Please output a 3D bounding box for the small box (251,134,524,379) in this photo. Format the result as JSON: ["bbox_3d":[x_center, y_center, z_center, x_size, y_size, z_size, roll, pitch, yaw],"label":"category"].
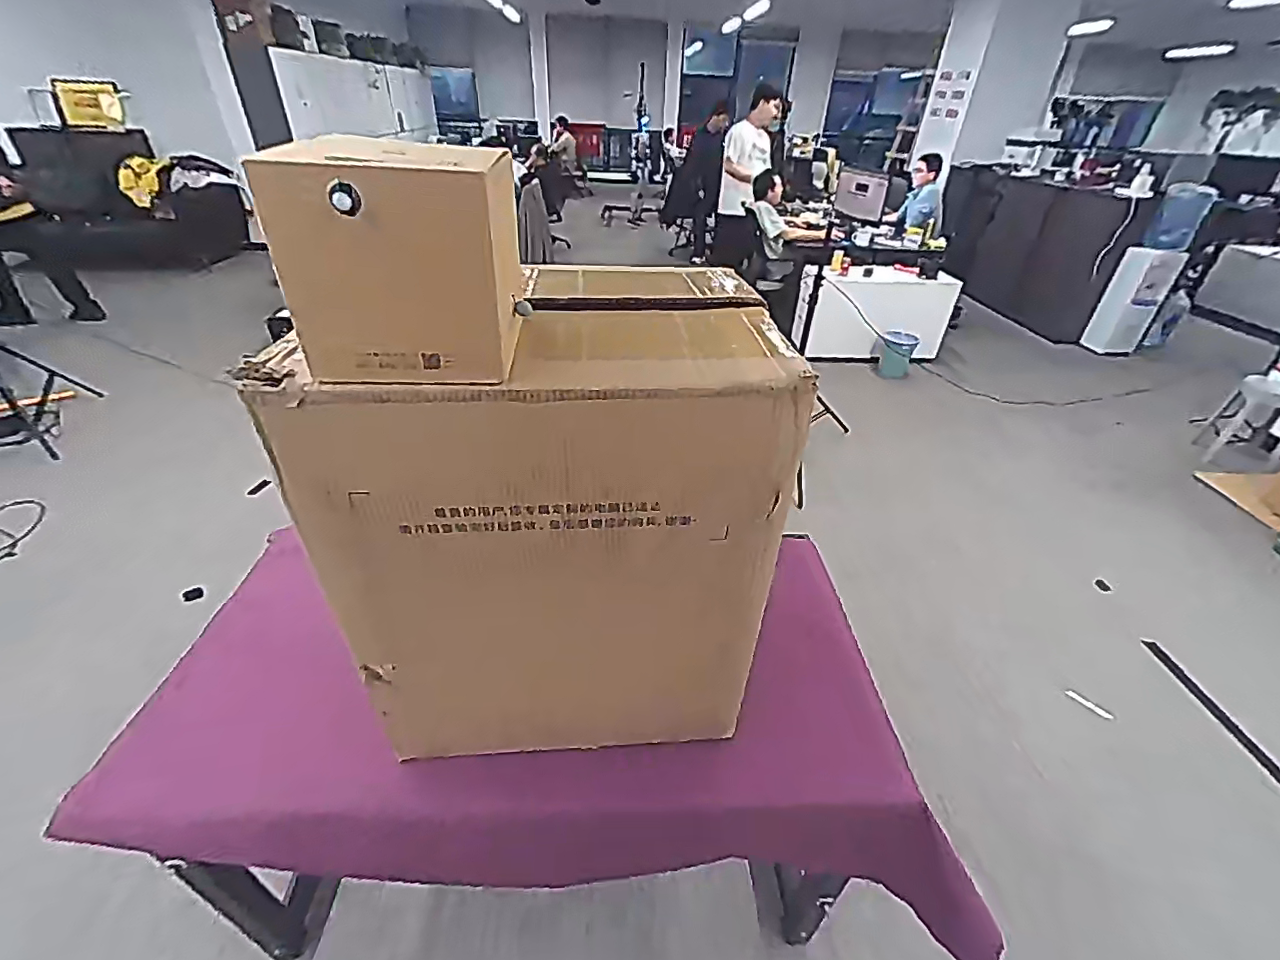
[{"bbox_3d":[-0.198,-0.204,0.488,0.168,0.176,0.179,-1,35,-6],"label":"small box"}]
